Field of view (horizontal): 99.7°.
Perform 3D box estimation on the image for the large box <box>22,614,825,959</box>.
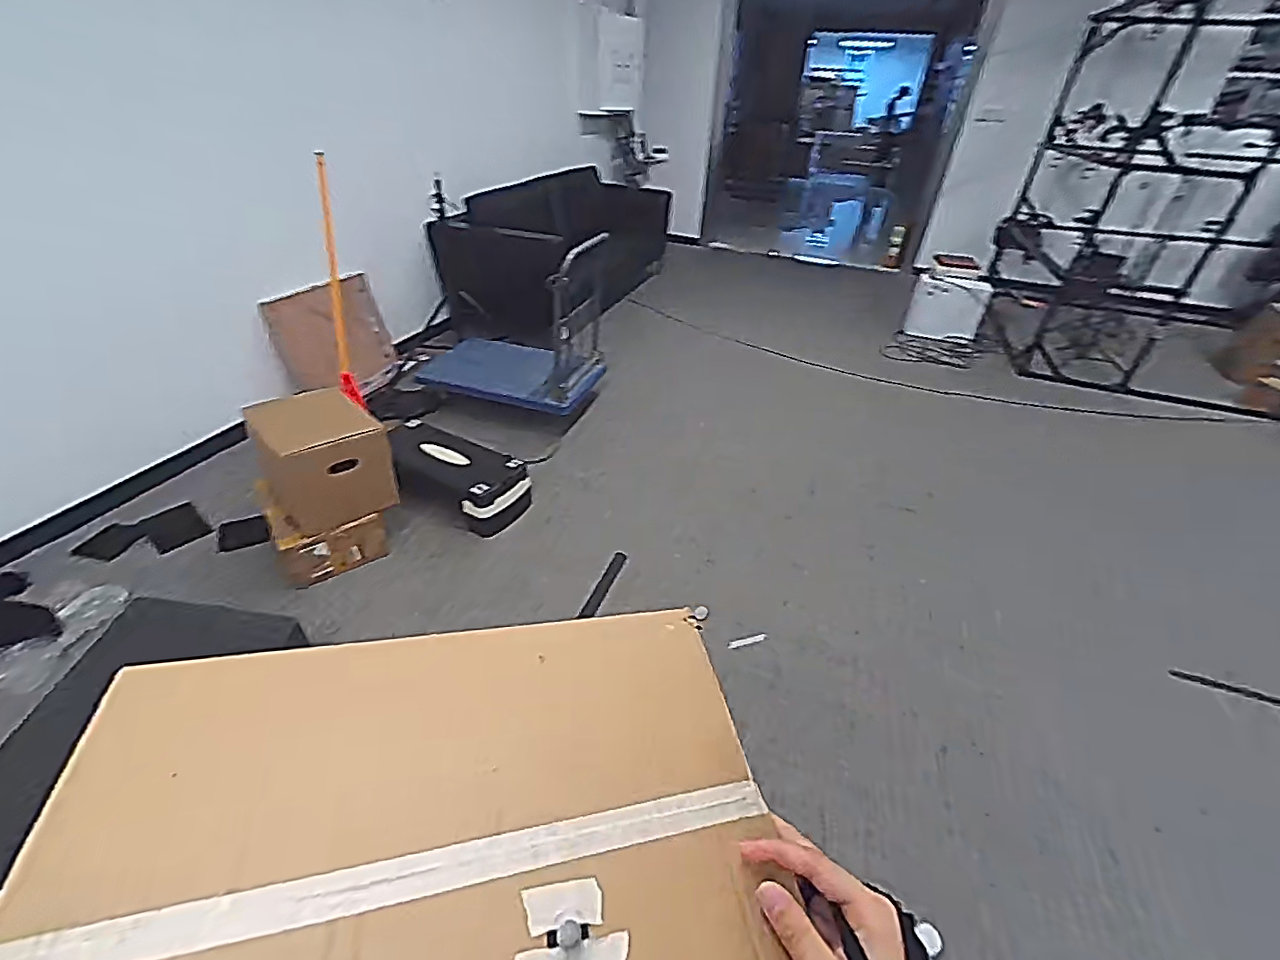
[{"bbox_3d":[-0.131,0.334,0.406,0.408,0.320,0.320,0,41,-16],"label":"large box"}]
